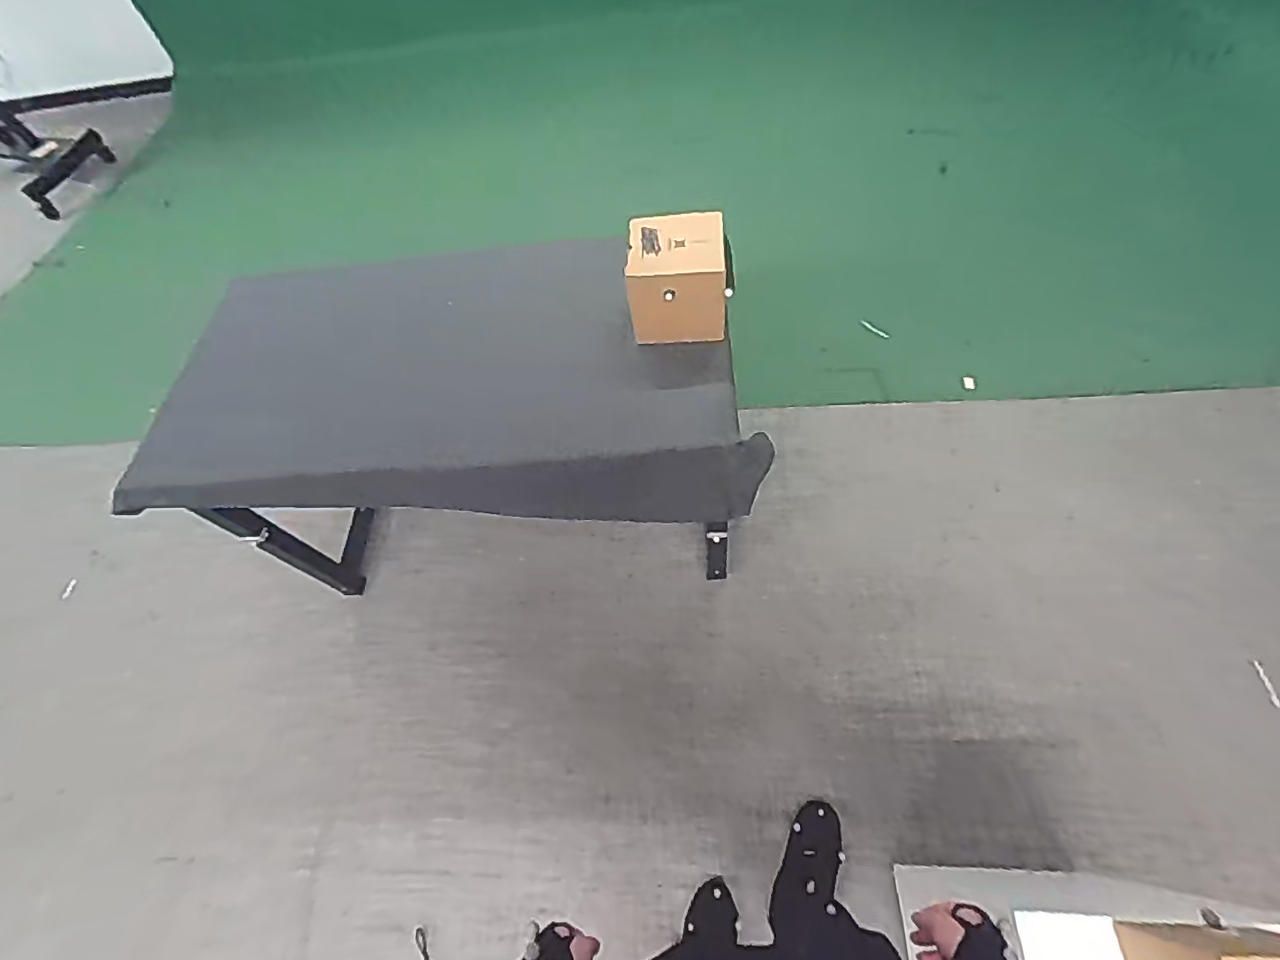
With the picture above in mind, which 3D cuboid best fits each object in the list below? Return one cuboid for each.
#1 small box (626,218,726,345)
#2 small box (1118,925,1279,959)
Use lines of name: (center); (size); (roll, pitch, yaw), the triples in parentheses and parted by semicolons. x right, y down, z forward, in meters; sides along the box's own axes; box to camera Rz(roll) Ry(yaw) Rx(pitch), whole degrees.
small box: (0.072, -0.376, 1.040); (0.179, 0.176, 0.168); (0, 59, 5)
small box: (0.661, 0.585, 0.553); (0.168, 0.176, 0.179); (-2, 58, 2)
